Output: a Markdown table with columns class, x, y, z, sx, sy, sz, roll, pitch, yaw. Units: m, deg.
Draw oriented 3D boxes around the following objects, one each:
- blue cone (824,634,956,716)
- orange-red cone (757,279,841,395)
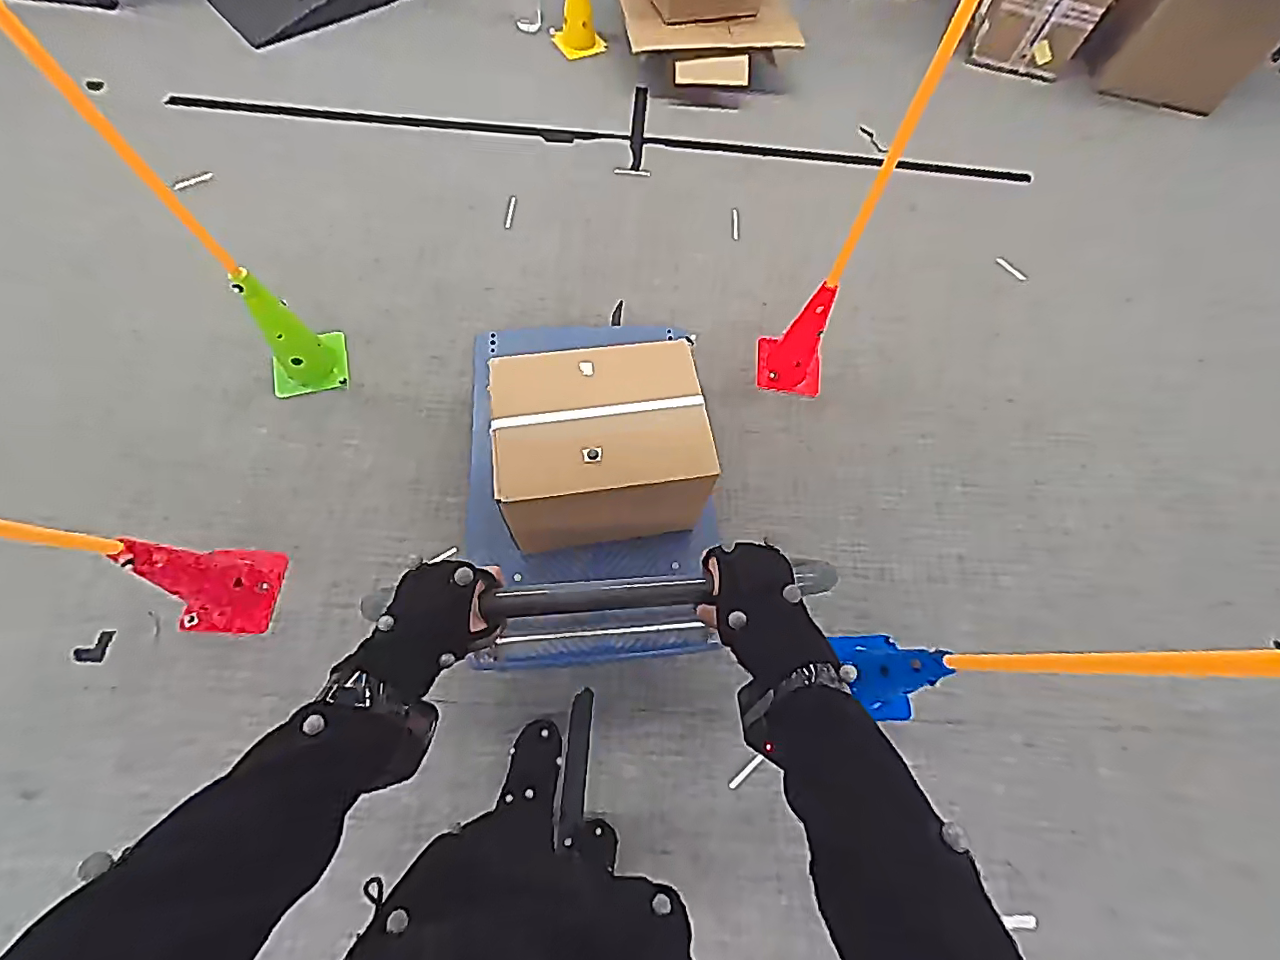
| class | x | y | z | sx | sy | sz | roll | pitch | yaw |
| --- | --- | --- | --- | --- | --- | --- | --- | --- | --- |
| blue cone | 0.568 | 0.407 | 1.181 | 0.193 | 0.380 | 0.192 | 1 | 65 | -4 |
| orange-red cone | 0.484 | -0.429 | 1.535 | 0.199 | 0.360 | 0.198 | 10 | 66 | -1 |
